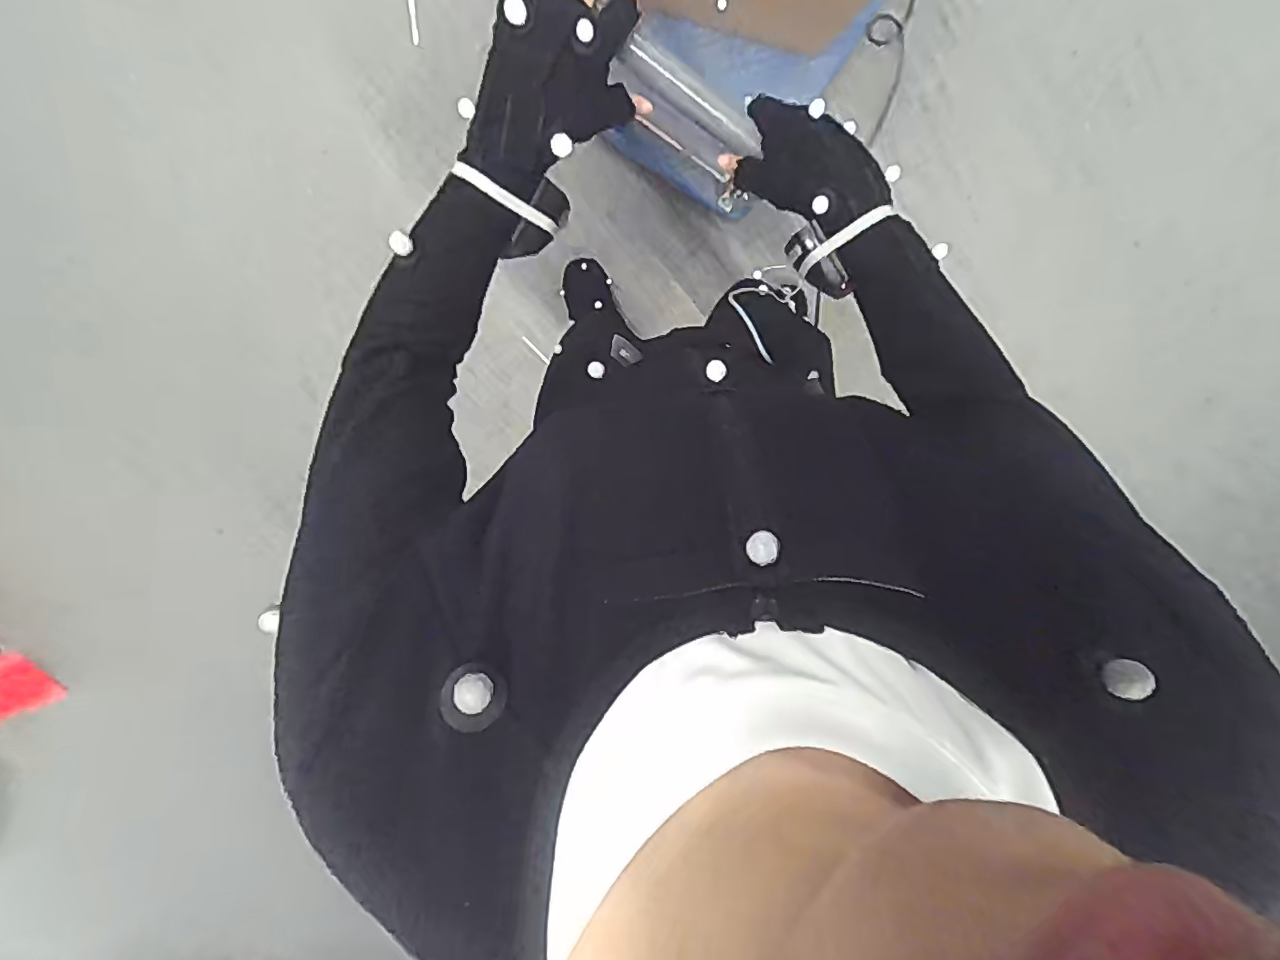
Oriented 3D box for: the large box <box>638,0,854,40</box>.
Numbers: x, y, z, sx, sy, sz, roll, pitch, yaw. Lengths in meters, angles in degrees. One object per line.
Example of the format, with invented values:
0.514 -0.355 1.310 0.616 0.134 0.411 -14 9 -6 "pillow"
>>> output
0.160 -0.914 0.788 0.408 0.320 0.320 11 113 -4 "large box"
